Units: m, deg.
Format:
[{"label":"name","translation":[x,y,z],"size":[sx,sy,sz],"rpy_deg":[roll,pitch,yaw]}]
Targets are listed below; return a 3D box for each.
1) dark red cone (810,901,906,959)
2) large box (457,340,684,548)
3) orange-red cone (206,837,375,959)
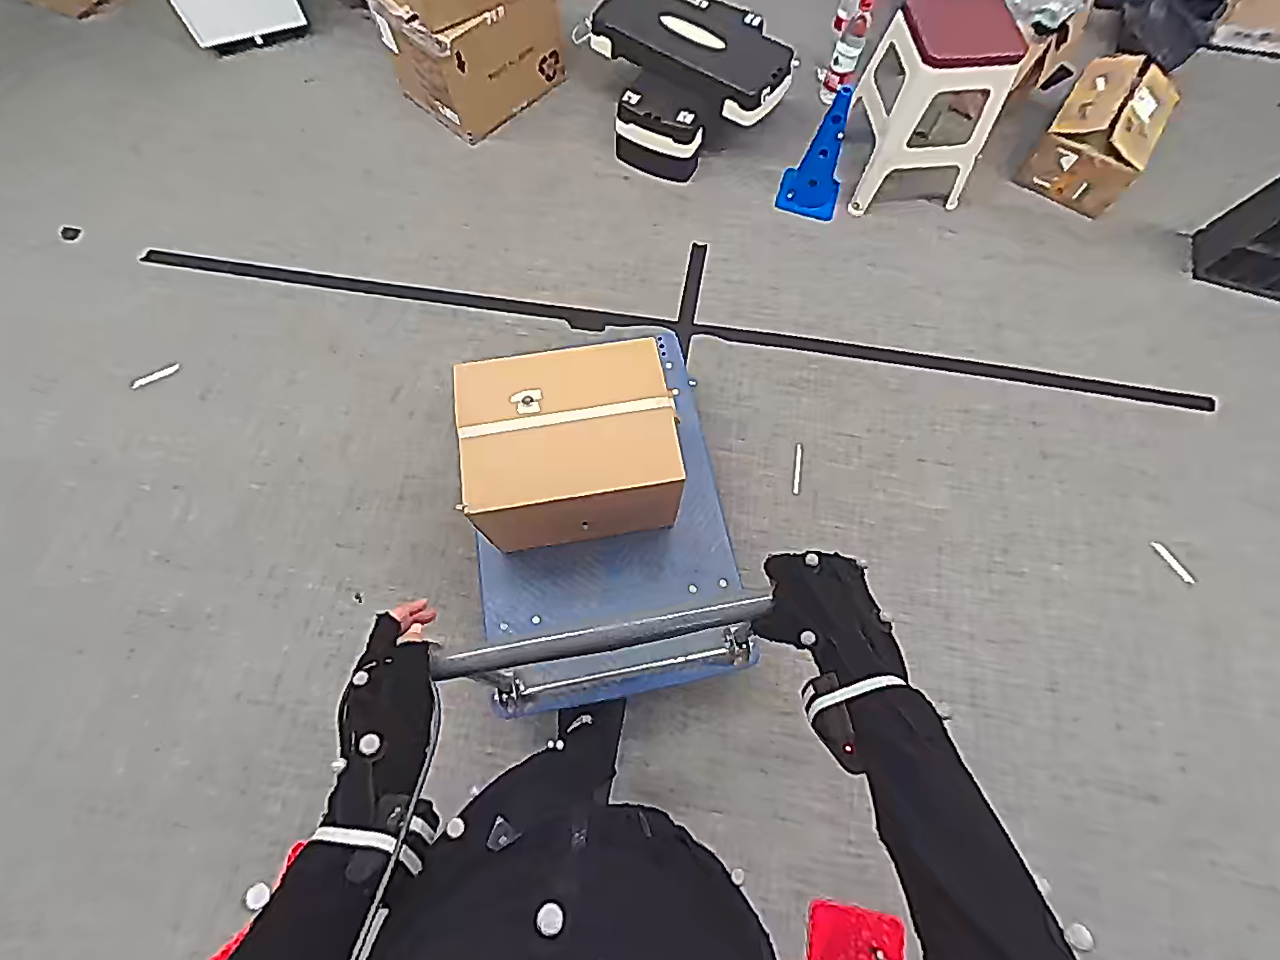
[{"label":"dark red cone","translation":[0.450,0.930,0.945],"size":[0.201,0.394,0.202],"rpy_deg":[10,70,1]},{"label":"large box","translation":[-0.139,-0.061,1.169],"size":[0.408,0.320,0.320],"rpy_deg":[-9,70,-4]},{"label":"orange-red cone","translation":[-0.679,0.826,0.982],"size":[0.198,0.360,0.199],"rpy_deg":[17,69,4]}]
